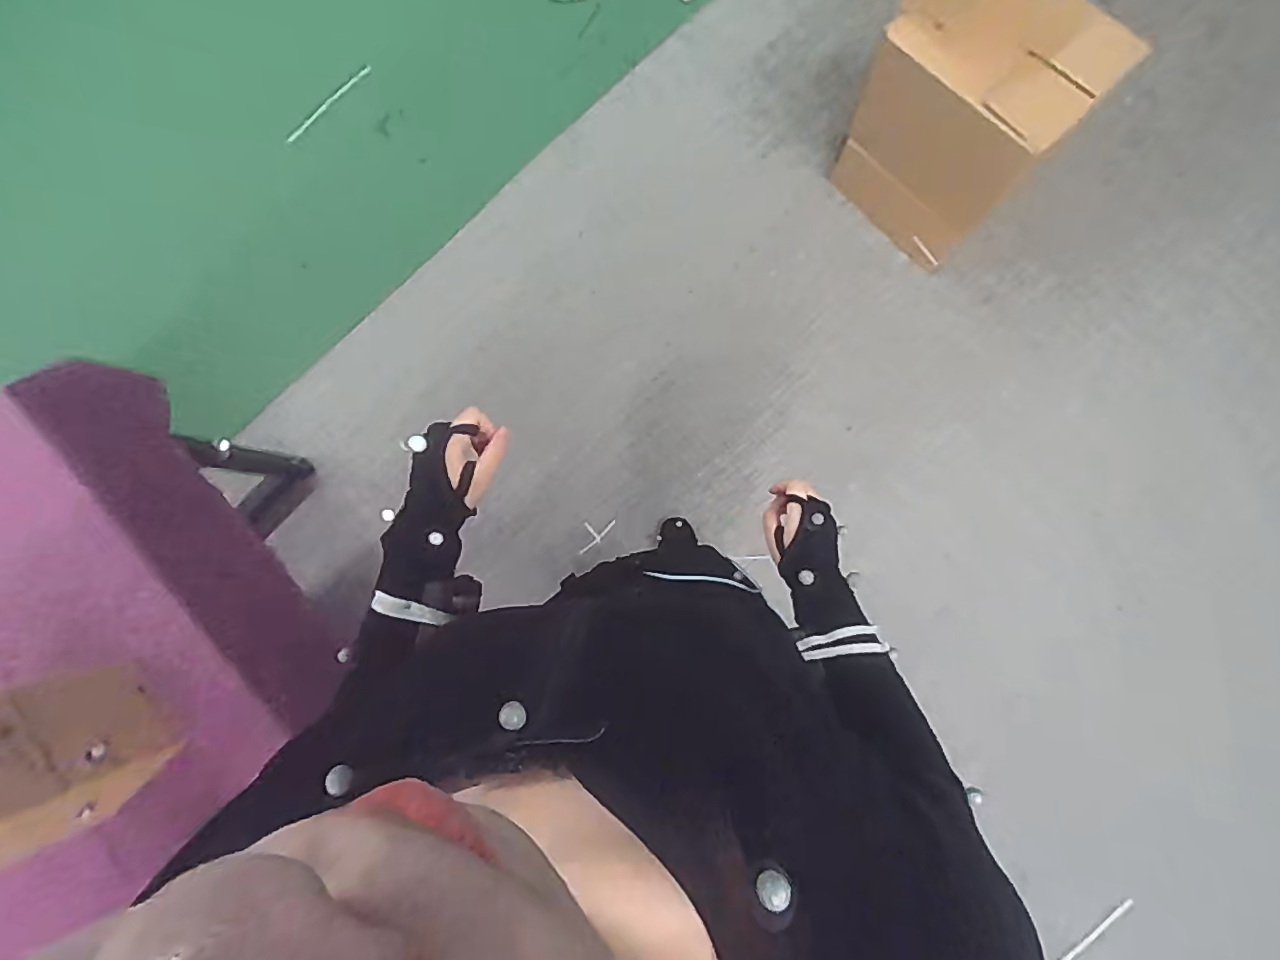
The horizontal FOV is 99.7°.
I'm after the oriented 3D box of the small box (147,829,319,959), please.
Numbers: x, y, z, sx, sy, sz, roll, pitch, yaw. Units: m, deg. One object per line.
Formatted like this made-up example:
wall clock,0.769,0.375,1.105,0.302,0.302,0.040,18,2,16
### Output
small box,-0.566,0.615,0.712,0.179,0.176,0.168,-43,82,0
